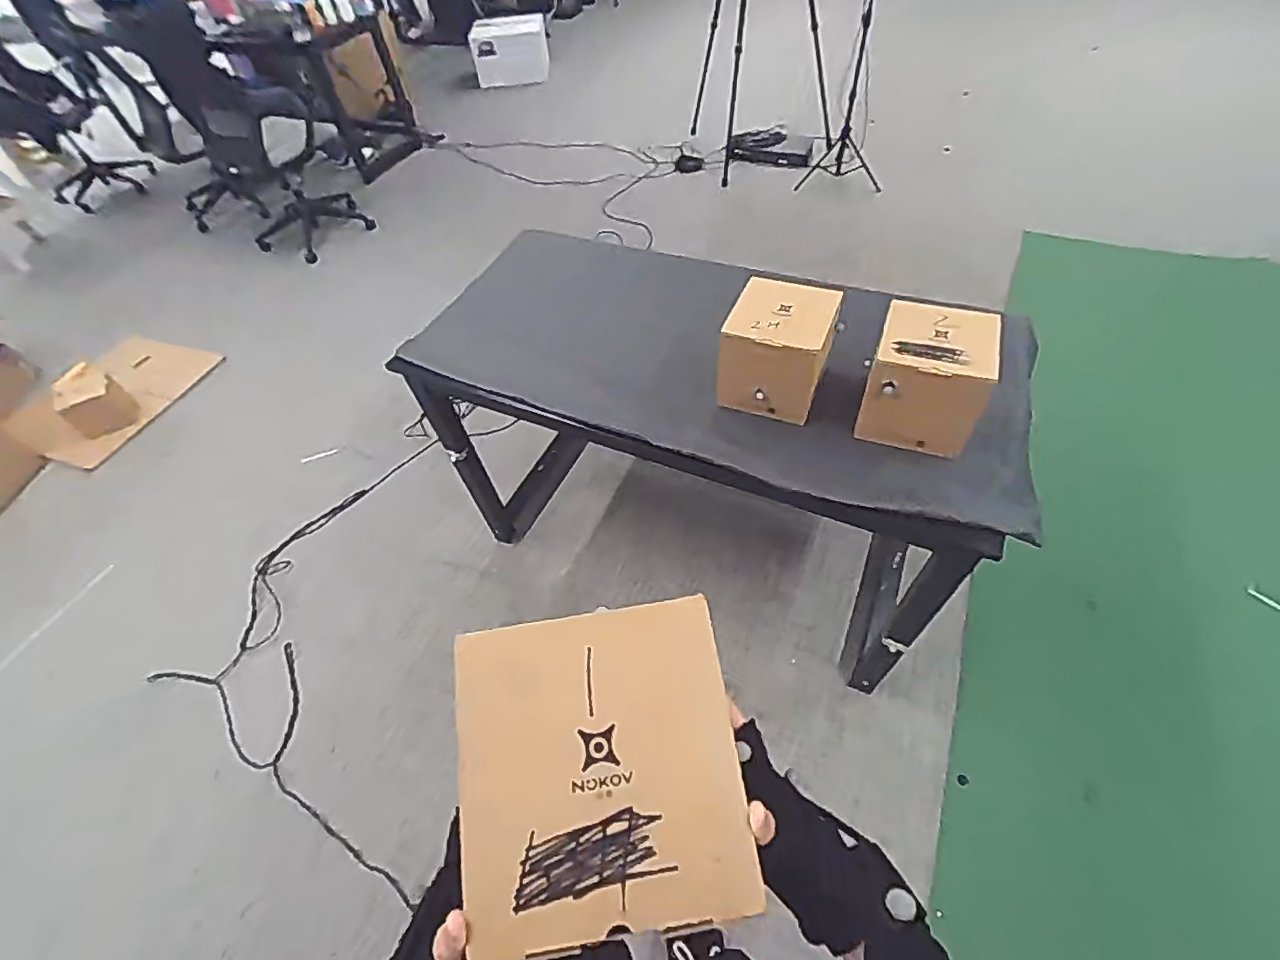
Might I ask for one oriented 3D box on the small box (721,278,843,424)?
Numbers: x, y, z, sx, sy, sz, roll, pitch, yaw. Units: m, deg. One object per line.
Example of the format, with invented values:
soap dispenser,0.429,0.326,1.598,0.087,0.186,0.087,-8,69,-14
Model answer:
small box,0.249,-0.232,0.974,0.168,0.176,0.179,17,56,19
